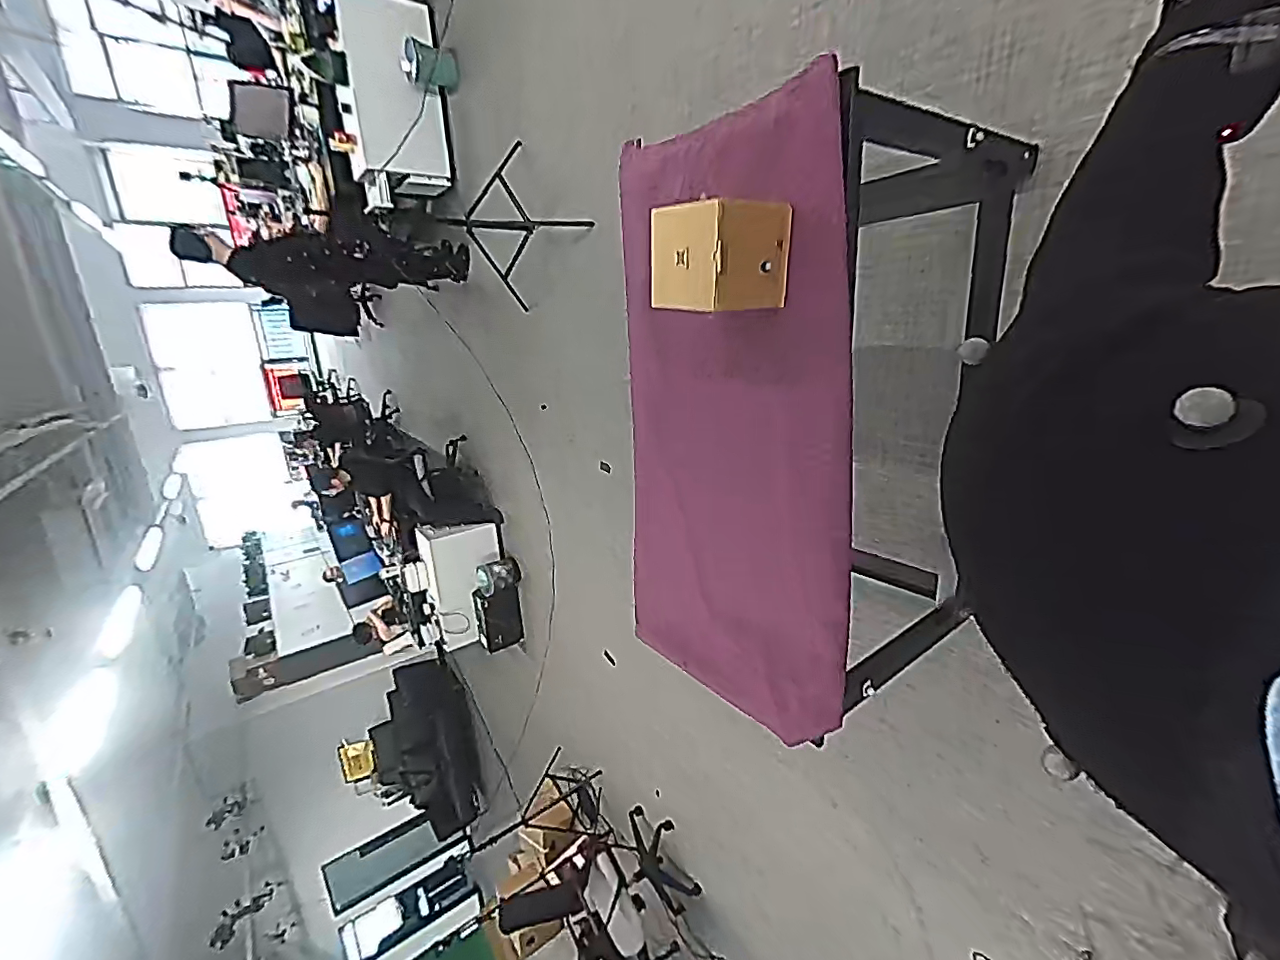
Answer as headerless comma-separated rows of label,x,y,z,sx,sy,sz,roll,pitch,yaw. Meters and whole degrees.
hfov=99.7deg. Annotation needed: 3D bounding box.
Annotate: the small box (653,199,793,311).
small box,0.140,-0.388,0.950,0.179,0.176,0.168,26,123,50
